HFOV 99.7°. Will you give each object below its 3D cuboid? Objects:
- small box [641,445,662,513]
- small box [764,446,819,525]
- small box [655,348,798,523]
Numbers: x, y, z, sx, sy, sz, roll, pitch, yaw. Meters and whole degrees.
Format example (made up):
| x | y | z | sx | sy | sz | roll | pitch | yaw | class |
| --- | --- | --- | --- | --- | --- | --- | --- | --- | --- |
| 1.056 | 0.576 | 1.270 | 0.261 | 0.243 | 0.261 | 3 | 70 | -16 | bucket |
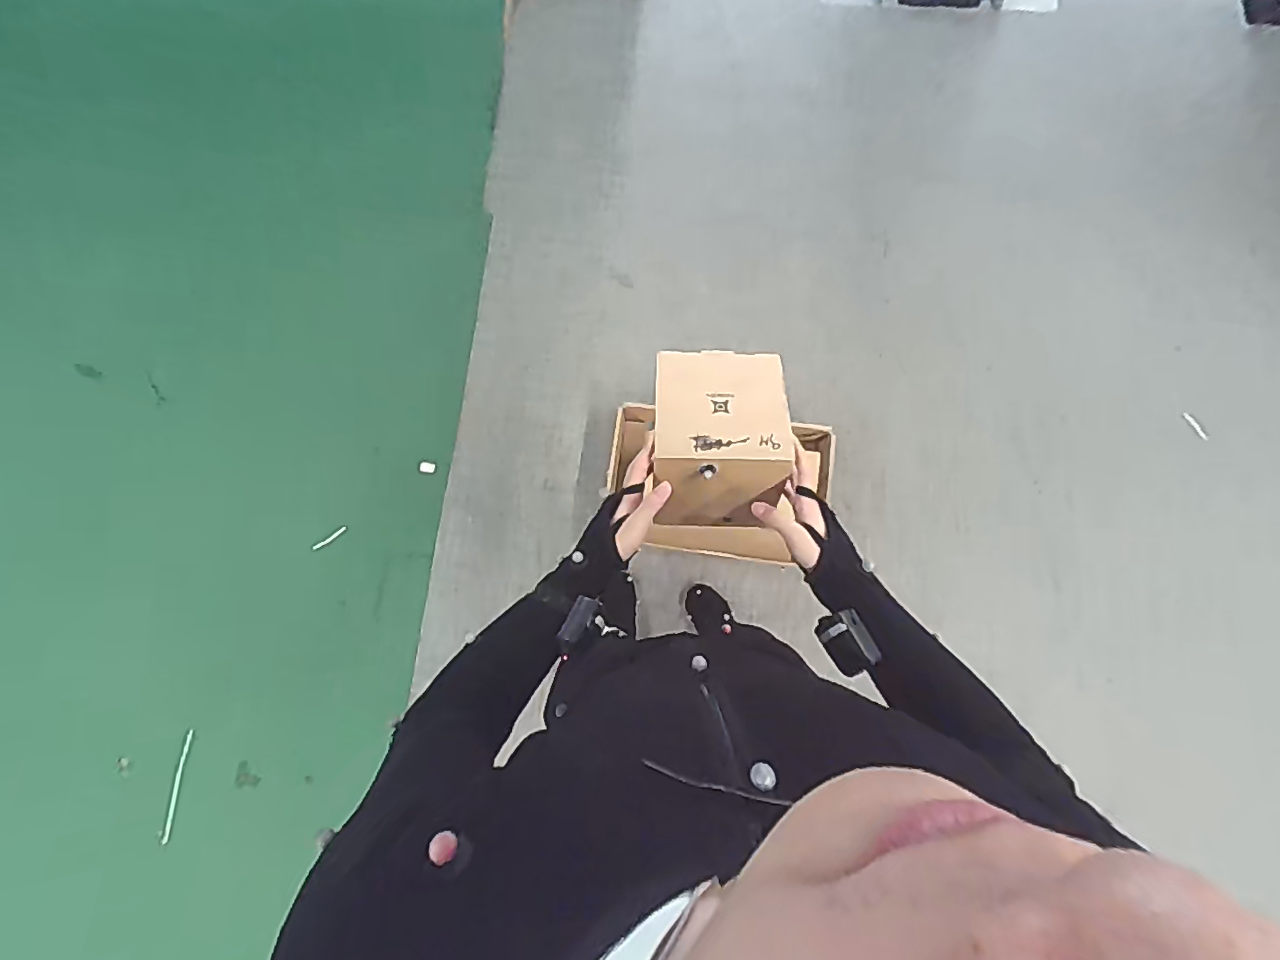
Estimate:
| x | y | z | sx | sy | sz | roll | pitch | yaw | class |
| --- | --- | --- | --- | --- | --- | --- | --- | --- | --- |
| 0.094 | 0.009 | 1.556 | 0.168 | 0.176 | 0.179 | 6 | 81 | 1 | small box |
| 0.347 | 0.012 | 1.386 | 0.168 | 0.176 | 0.179 | 8 | 81 | 5 | small box |
| 0.105 | -0.059 | 0.743 | 0.168 | 0.176 | 0.179 | 1 | 57 | 1 | small box |
